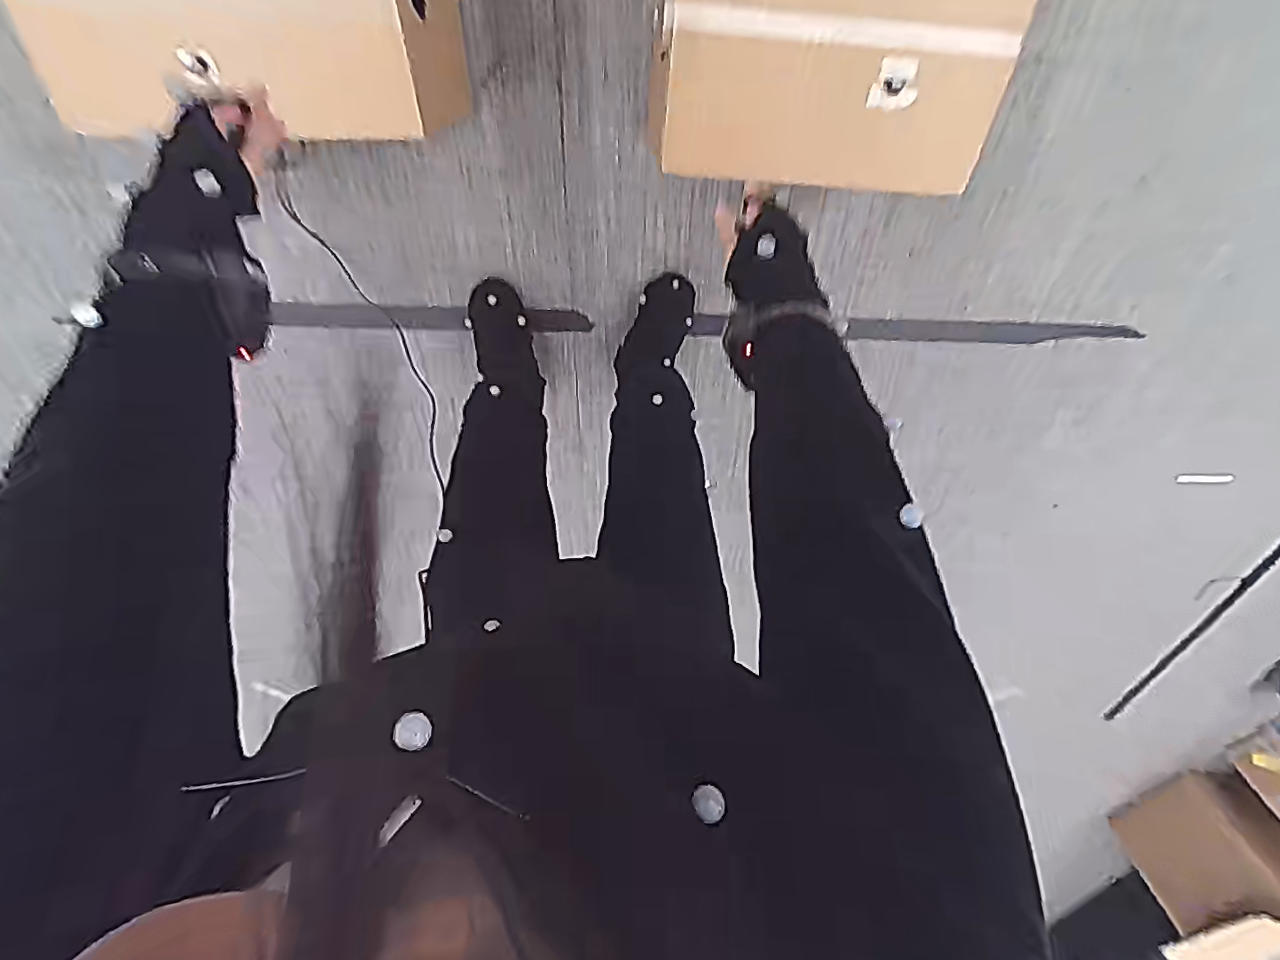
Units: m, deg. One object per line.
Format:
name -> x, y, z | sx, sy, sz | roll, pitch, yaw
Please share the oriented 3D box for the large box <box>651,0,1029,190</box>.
large box -> 0.231, -0.604, 0.742 | 0.408, 0.320, 0.320 | 2, 127, -5
